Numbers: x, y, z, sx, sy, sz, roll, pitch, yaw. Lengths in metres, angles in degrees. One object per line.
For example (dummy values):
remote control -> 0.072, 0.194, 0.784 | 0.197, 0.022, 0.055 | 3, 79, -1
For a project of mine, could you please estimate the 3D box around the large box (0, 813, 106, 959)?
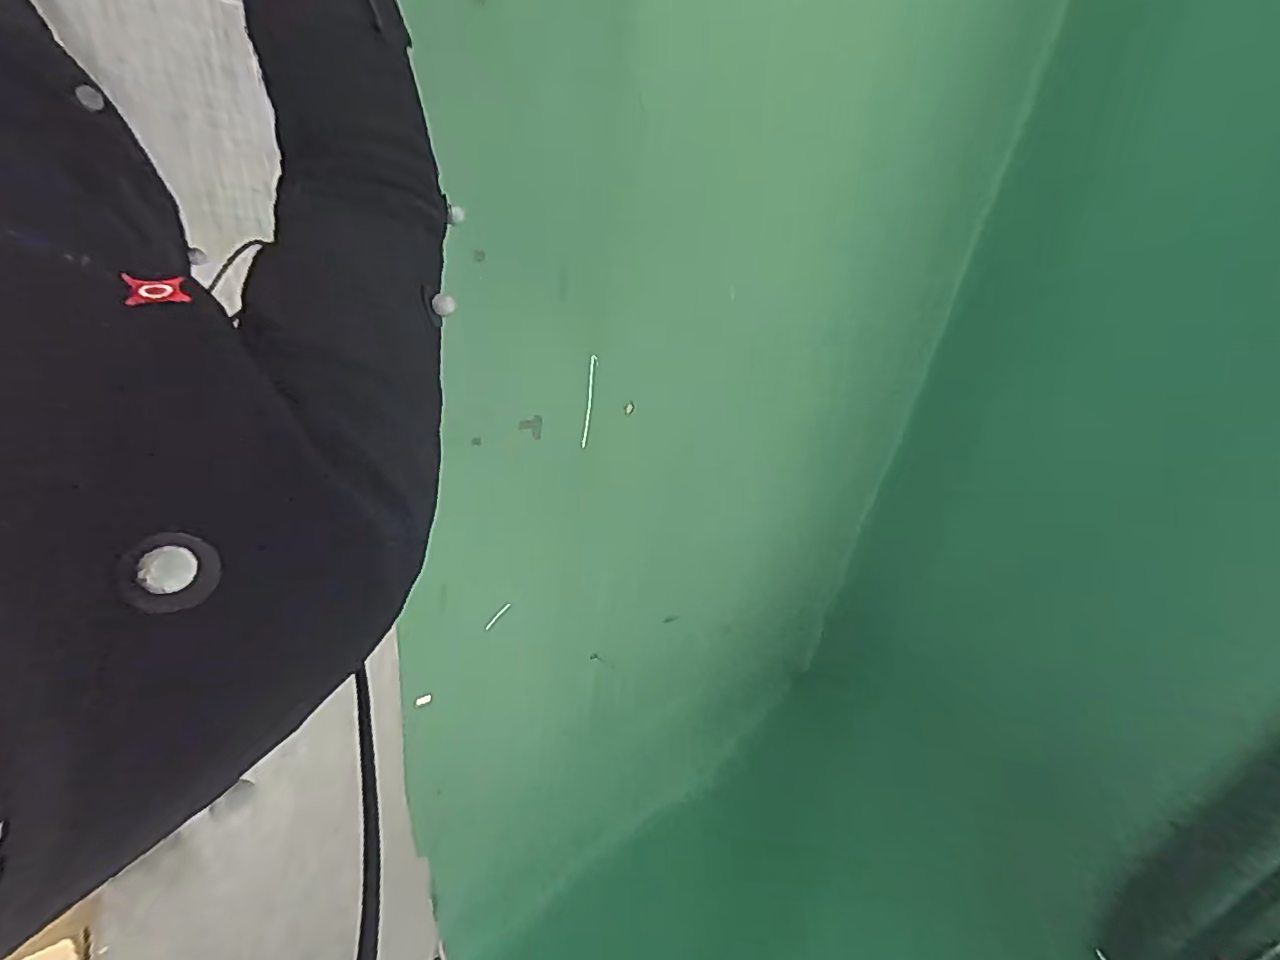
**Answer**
large box -> -1.444, 1.019, 1.147 | 0.408, 0.320, 0.320 | -6, 120, -40
